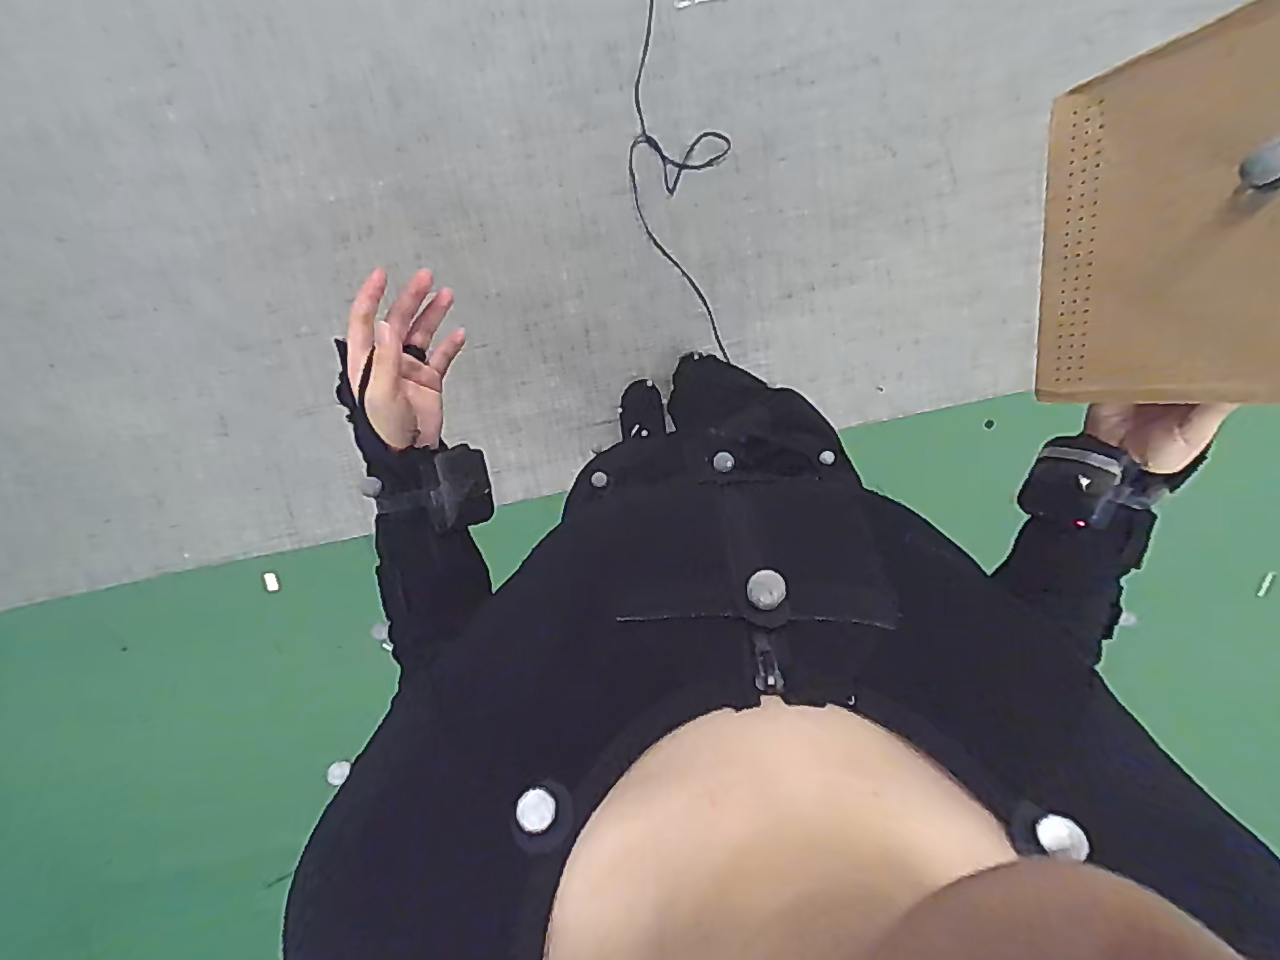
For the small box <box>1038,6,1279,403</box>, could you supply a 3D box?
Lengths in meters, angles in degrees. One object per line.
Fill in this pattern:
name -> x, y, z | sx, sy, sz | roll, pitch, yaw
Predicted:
small box -> 0.345, -0.136, 0.280 | 0.168, 0.176, 0.179 | -9, 100, -16
